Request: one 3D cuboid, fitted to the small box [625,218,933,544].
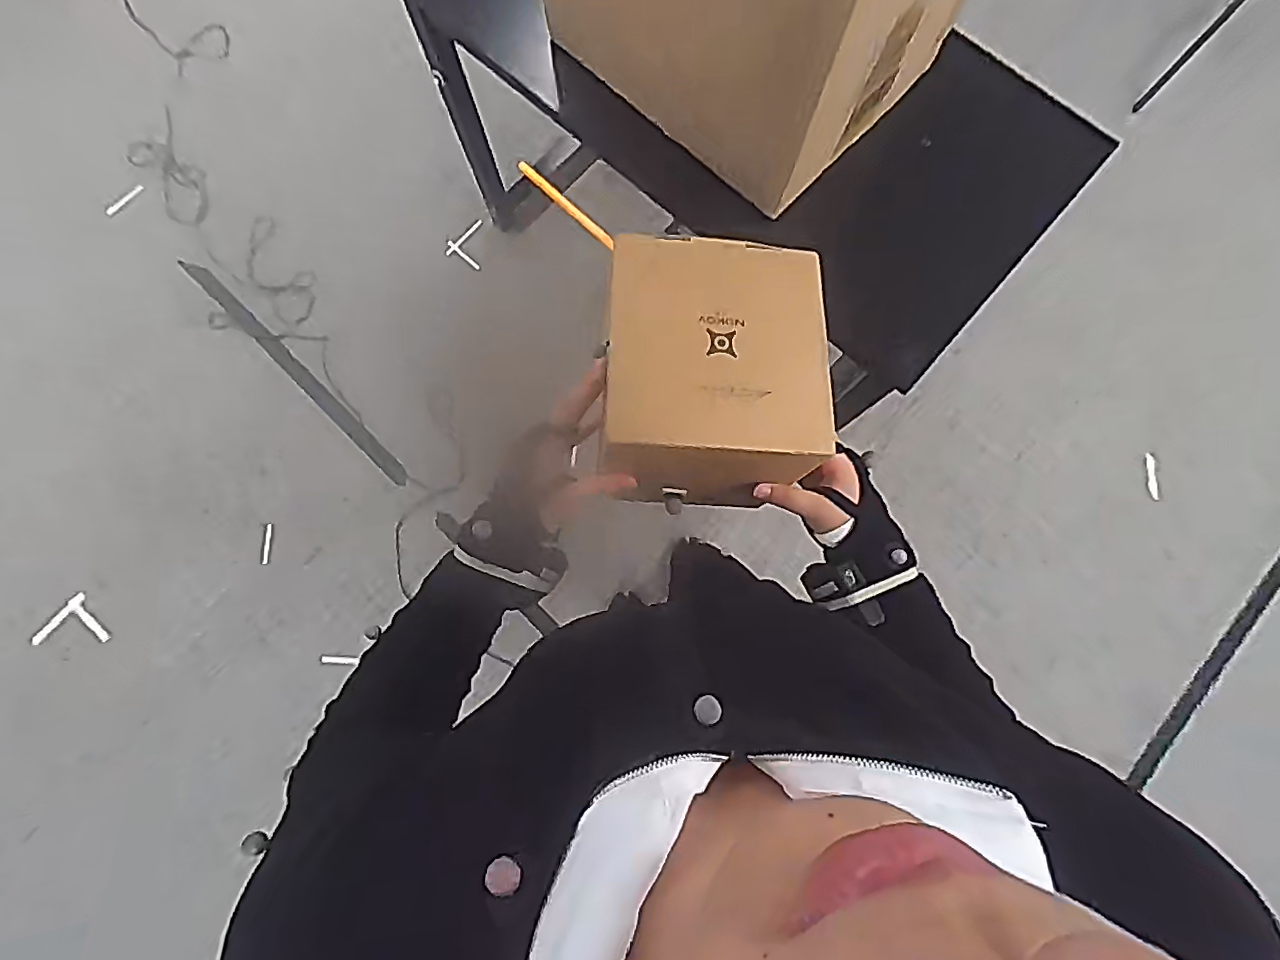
[{"bbox_3d":[0.077,-0.055,0.398,0.168,0.176,0.179,2,74,-6],"label":"small box"}]
